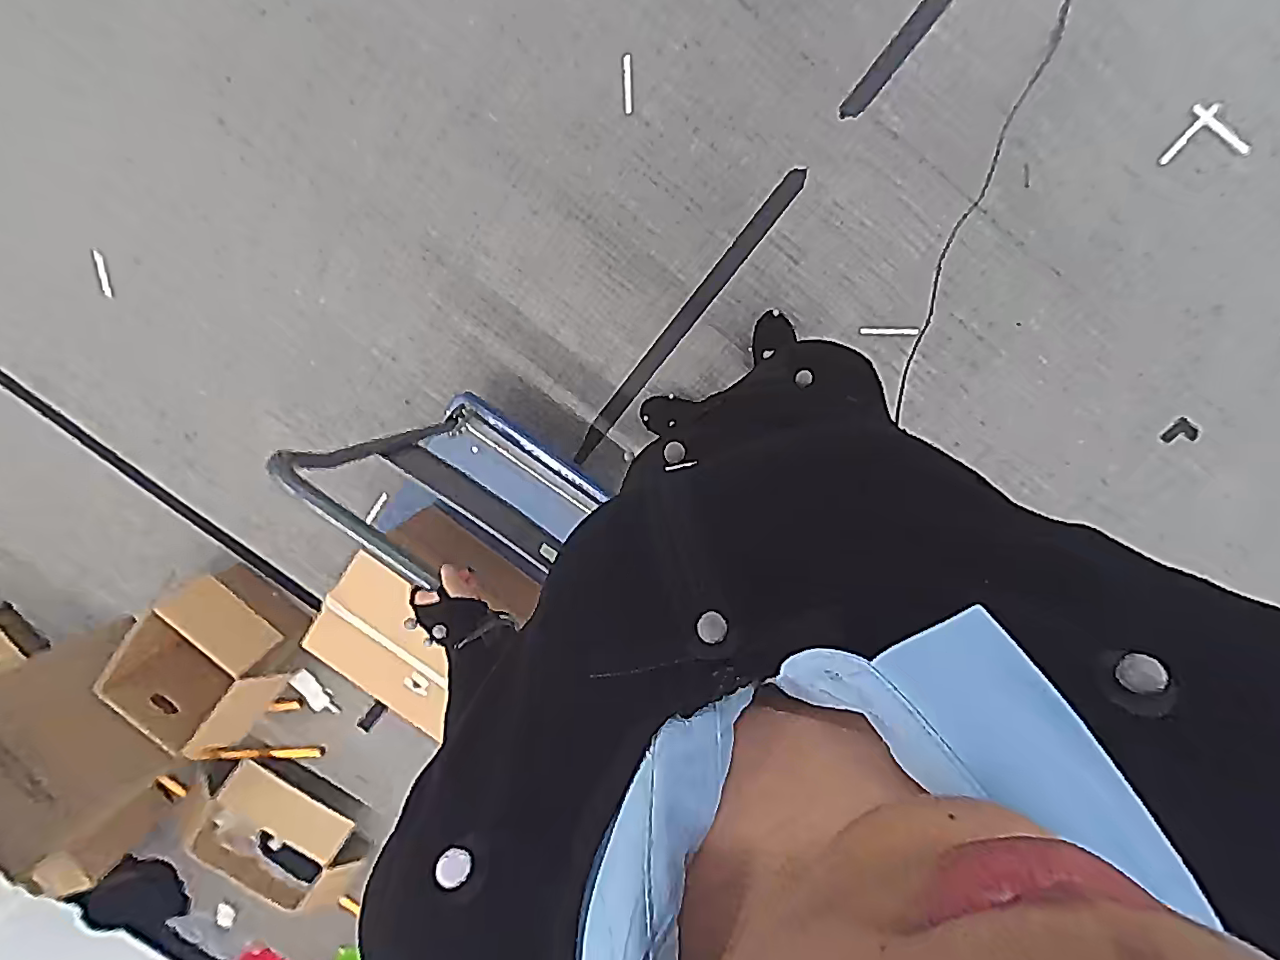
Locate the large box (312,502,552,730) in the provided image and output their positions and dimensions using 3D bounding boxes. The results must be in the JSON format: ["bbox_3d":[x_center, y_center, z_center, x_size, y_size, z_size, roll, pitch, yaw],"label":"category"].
[{"bbox_3d":[-0.495,0.320,1.355,0.408,0.320,0.320,36,107,-5],"label":"large box"}]
